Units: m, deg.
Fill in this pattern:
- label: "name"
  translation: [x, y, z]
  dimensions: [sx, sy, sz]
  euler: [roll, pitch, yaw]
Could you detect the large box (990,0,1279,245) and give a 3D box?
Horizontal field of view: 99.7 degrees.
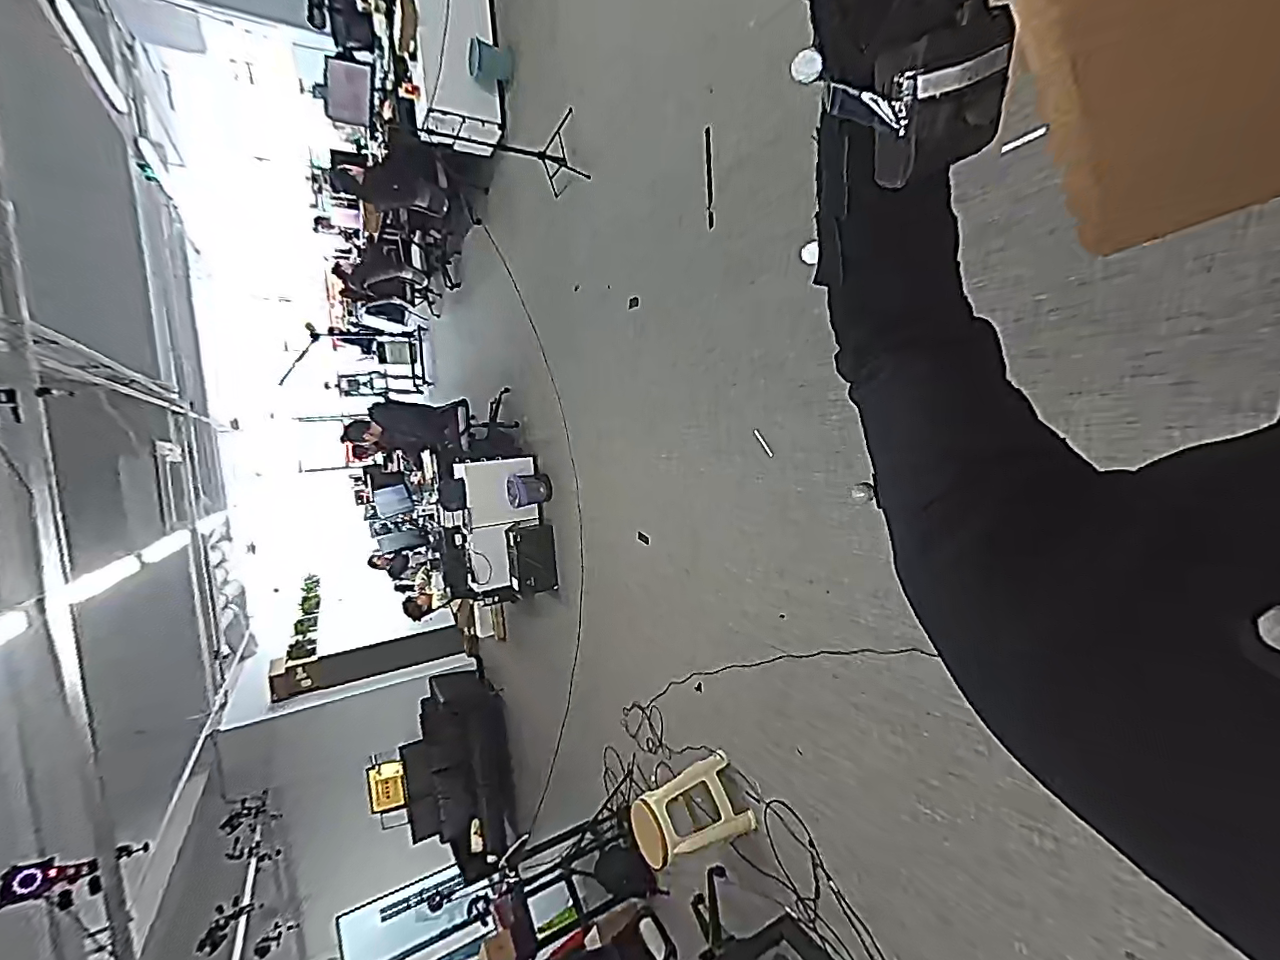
- label: "large box"
  translation: [0.311, -0.347, 0.147]
  dimensions: [0.408, 0.320, 0.320]
  euler: [-14, 76, 42]
